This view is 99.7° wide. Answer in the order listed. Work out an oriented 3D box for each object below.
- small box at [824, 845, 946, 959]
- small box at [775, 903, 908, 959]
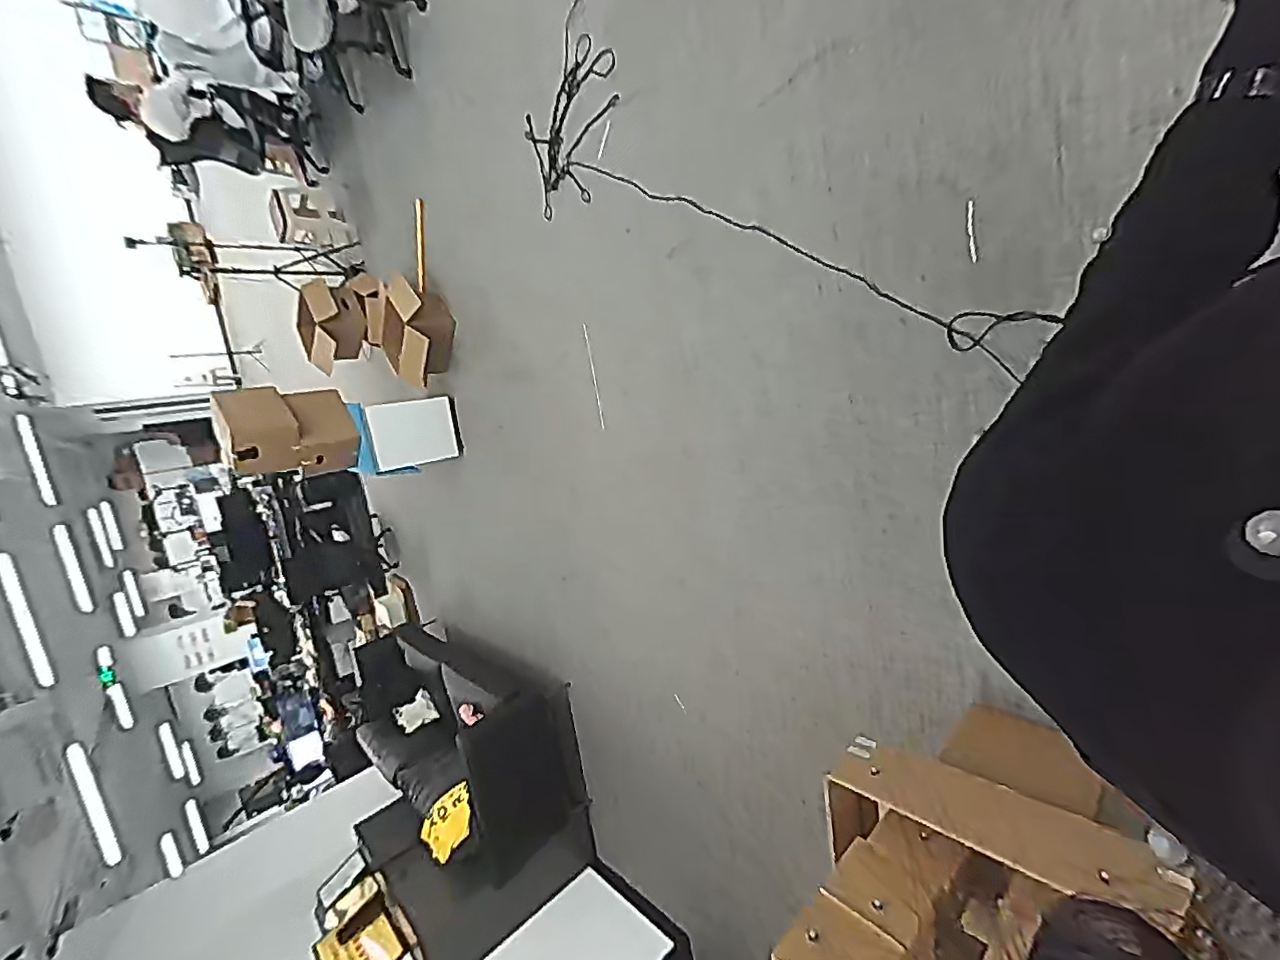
[{"bbox_3d":[0.494,0.889,1.085,0.179,0.176,0.168,9,108,49],"label":"small box"},{"bbox_3d":[0.370,0.931,0.987,0.179,0.176,0.168,8,108,48],"label":"small box"}]
